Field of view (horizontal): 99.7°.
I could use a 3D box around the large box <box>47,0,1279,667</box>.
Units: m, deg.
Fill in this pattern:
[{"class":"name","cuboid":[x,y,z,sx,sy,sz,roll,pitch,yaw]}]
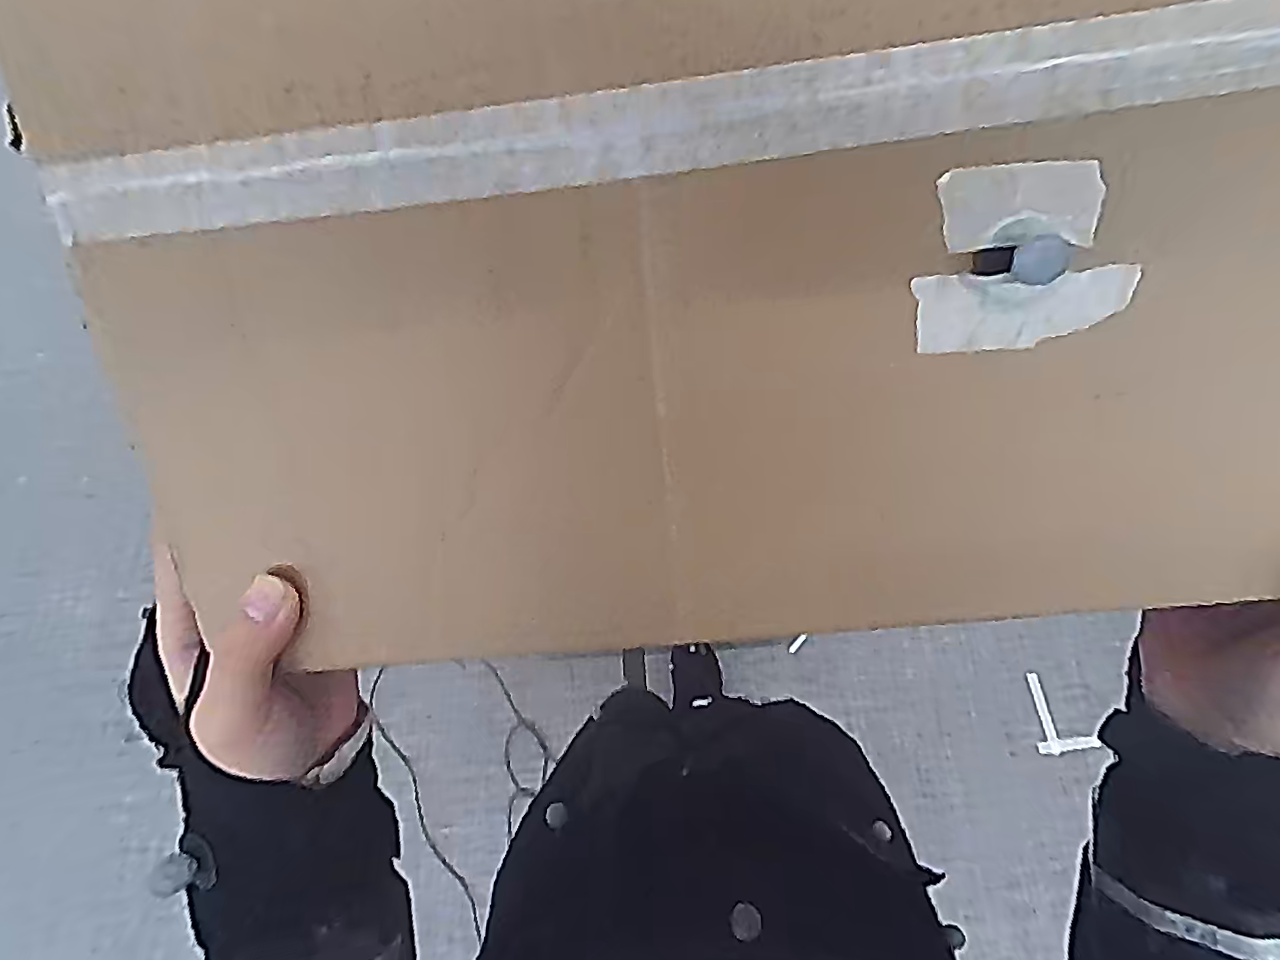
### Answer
[{"class":"large box","cuboid":[0.036,-0.134,0.304,0.408,0.320,0.320,-6,104,3]}]
